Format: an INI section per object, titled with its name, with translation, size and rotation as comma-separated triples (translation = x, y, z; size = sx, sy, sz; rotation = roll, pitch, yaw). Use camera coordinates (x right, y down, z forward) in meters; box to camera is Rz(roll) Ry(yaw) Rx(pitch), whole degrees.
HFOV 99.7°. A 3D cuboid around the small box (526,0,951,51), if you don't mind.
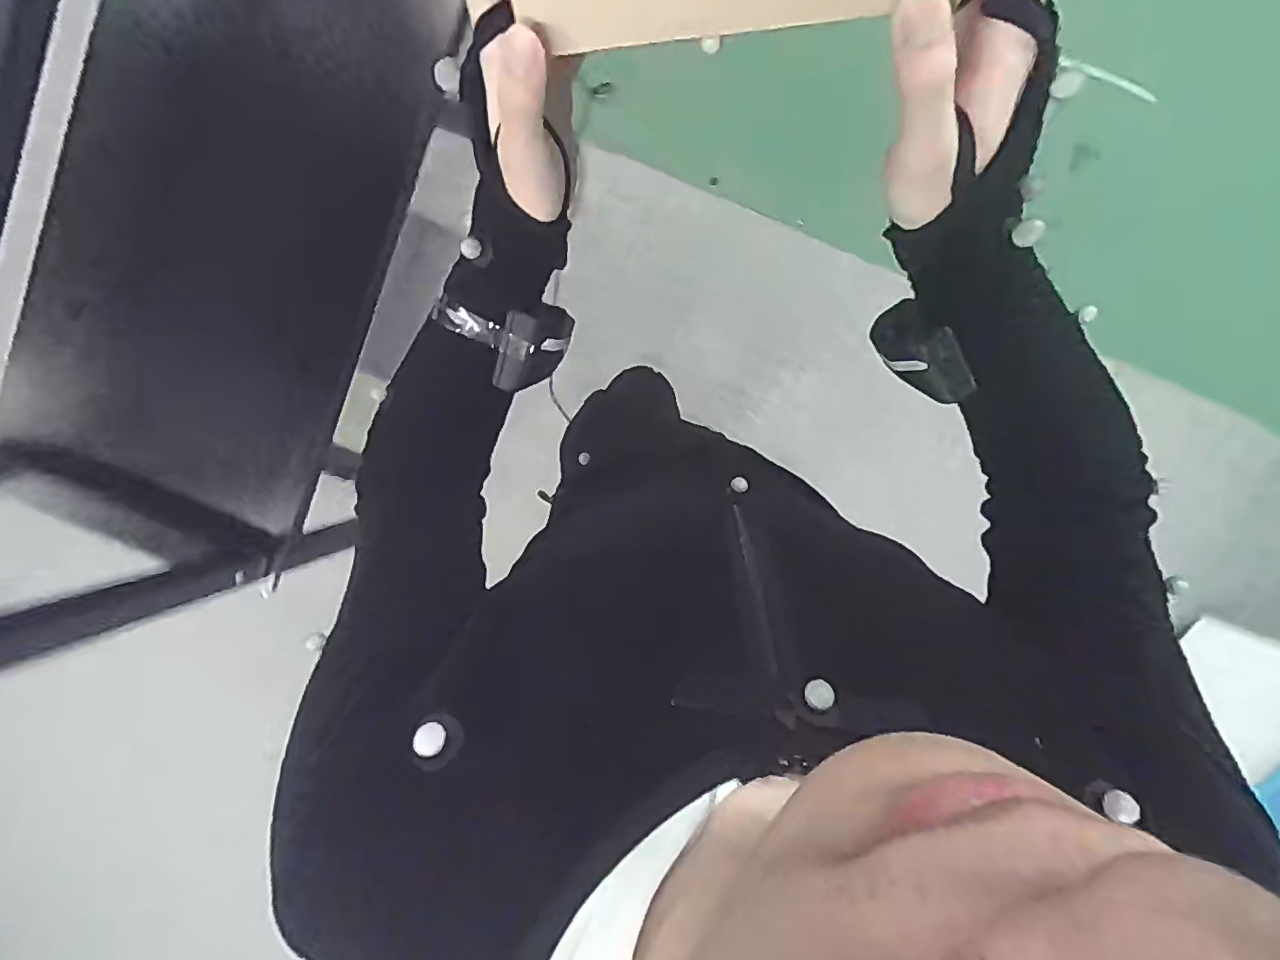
[small box]
translation = 0.044, -0.302, 0.225
size = 0.179, 0.176, 0.168
rotation = 4, 135, 12
